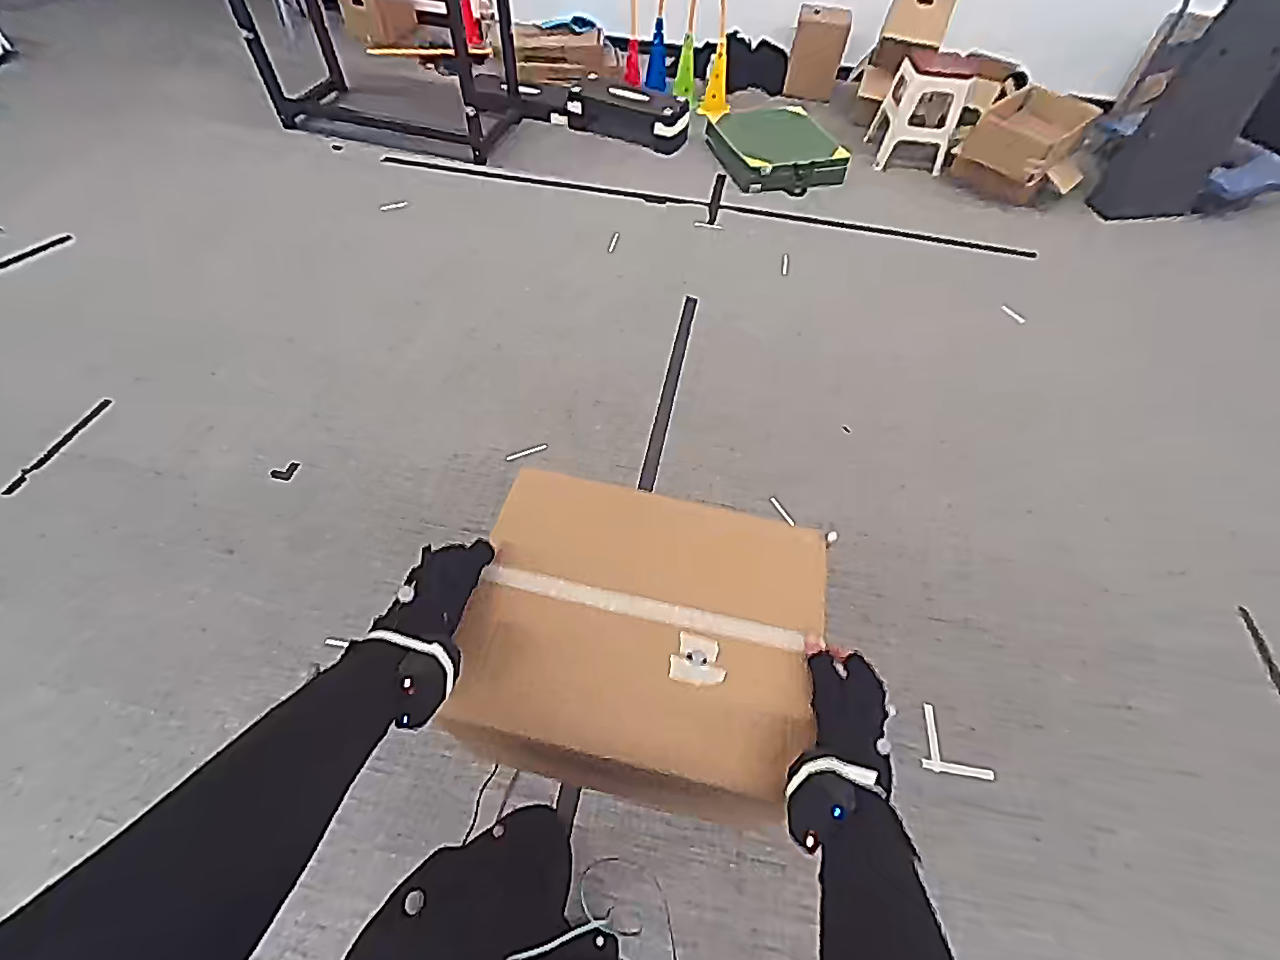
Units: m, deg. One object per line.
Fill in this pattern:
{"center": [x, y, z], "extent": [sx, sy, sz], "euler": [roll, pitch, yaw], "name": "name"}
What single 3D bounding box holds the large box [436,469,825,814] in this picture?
{"center": [0.003, 0.228, 0.744], "extent": [0.408, 0.320, 0.320], "euler": [13, 56, 5], "name": "large box"}
